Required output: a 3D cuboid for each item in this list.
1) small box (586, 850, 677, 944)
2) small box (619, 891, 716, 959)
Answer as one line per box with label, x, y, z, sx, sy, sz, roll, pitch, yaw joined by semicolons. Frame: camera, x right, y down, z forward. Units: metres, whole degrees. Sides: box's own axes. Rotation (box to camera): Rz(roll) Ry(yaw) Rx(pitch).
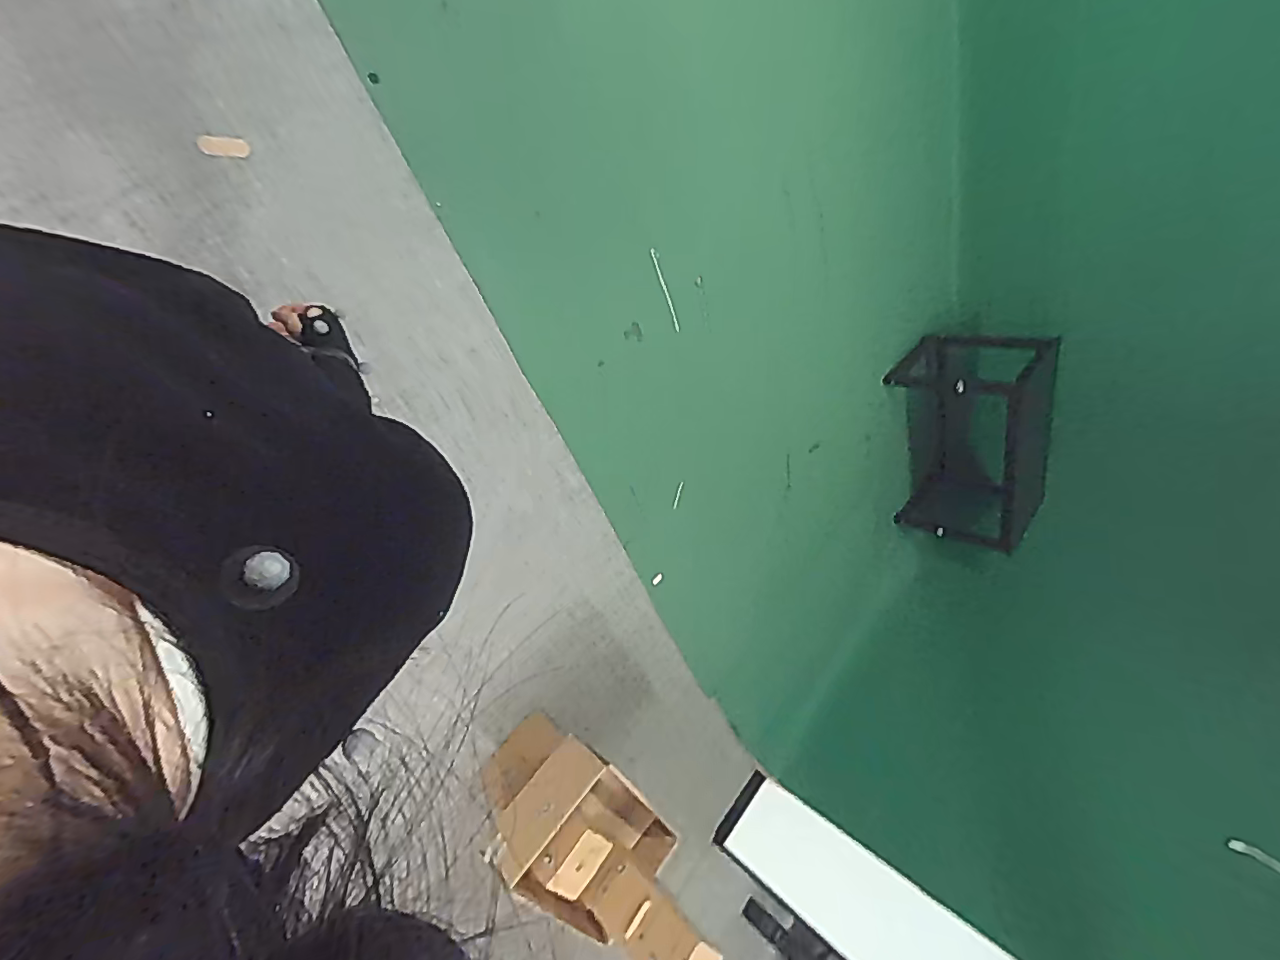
small box;-0.028;1.243;1.602;0.168;0.176;0.179;-49;128;-20
small box;0.072;1.278;1.478;0.168;0.176;0.179;-46;127;-22
